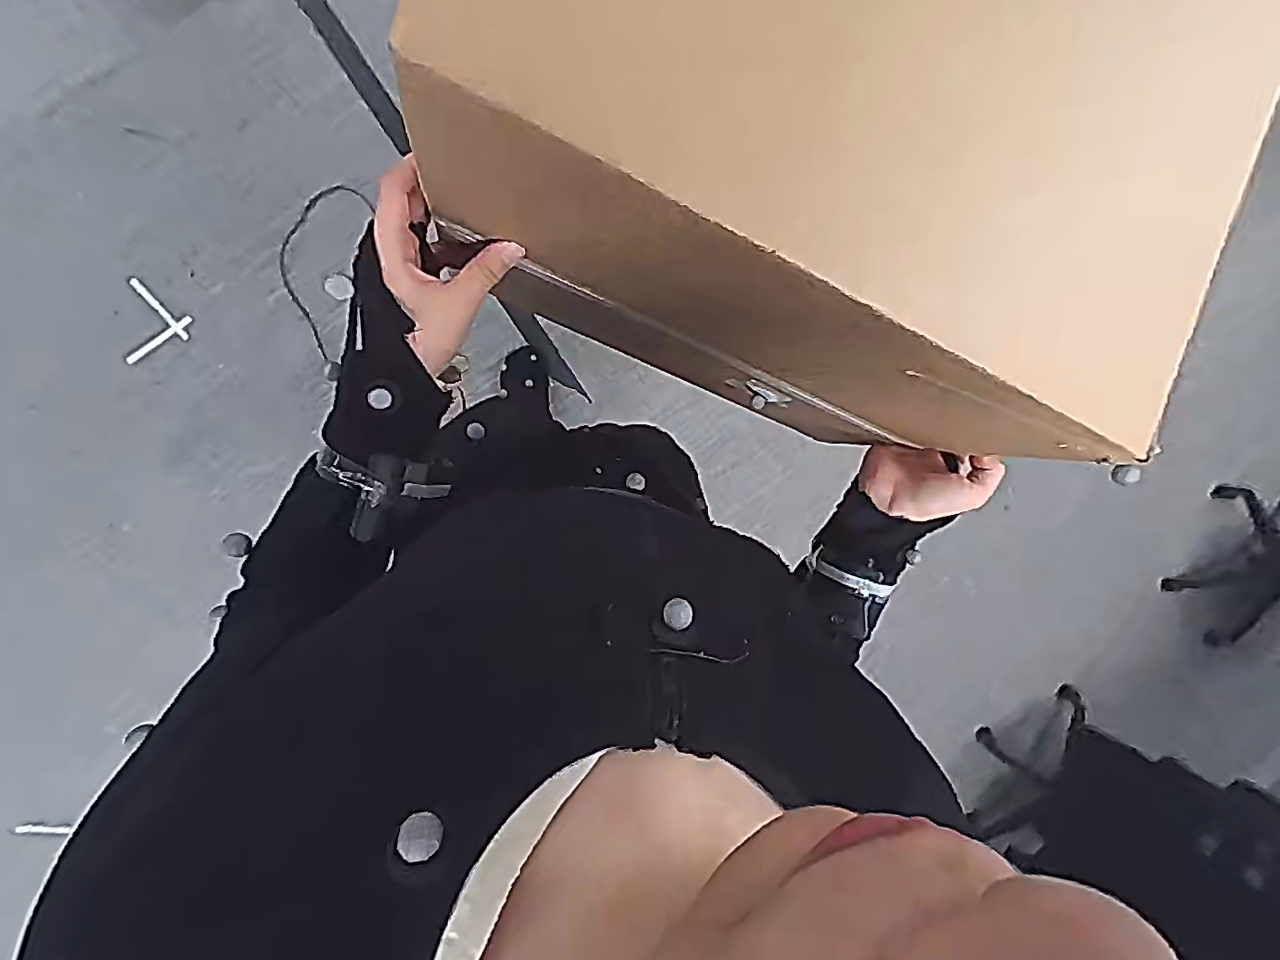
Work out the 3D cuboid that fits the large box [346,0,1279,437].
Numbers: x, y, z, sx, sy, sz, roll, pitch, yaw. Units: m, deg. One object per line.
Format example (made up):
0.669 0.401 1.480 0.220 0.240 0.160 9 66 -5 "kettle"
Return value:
0.091 -0.244 0.371 0.408 0.320 0.320 18 92 -16 "large box"
